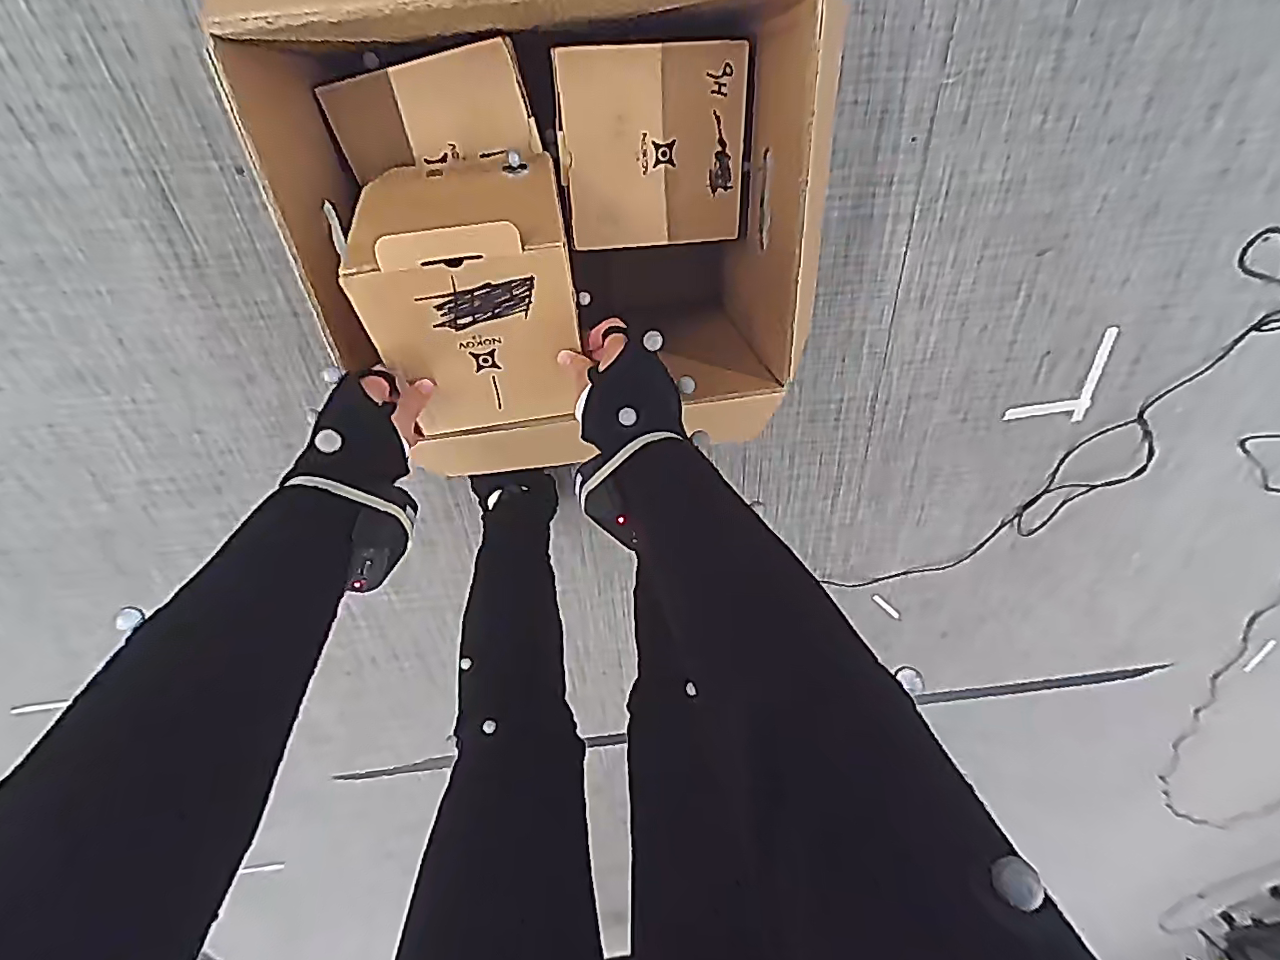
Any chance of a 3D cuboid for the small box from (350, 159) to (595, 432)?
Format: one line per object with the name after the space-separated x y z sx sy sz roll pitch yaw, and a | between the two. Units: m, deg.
-0.139 -0.173 0.500 0.168 0.176 0.179 -9 144 -5 | small box
